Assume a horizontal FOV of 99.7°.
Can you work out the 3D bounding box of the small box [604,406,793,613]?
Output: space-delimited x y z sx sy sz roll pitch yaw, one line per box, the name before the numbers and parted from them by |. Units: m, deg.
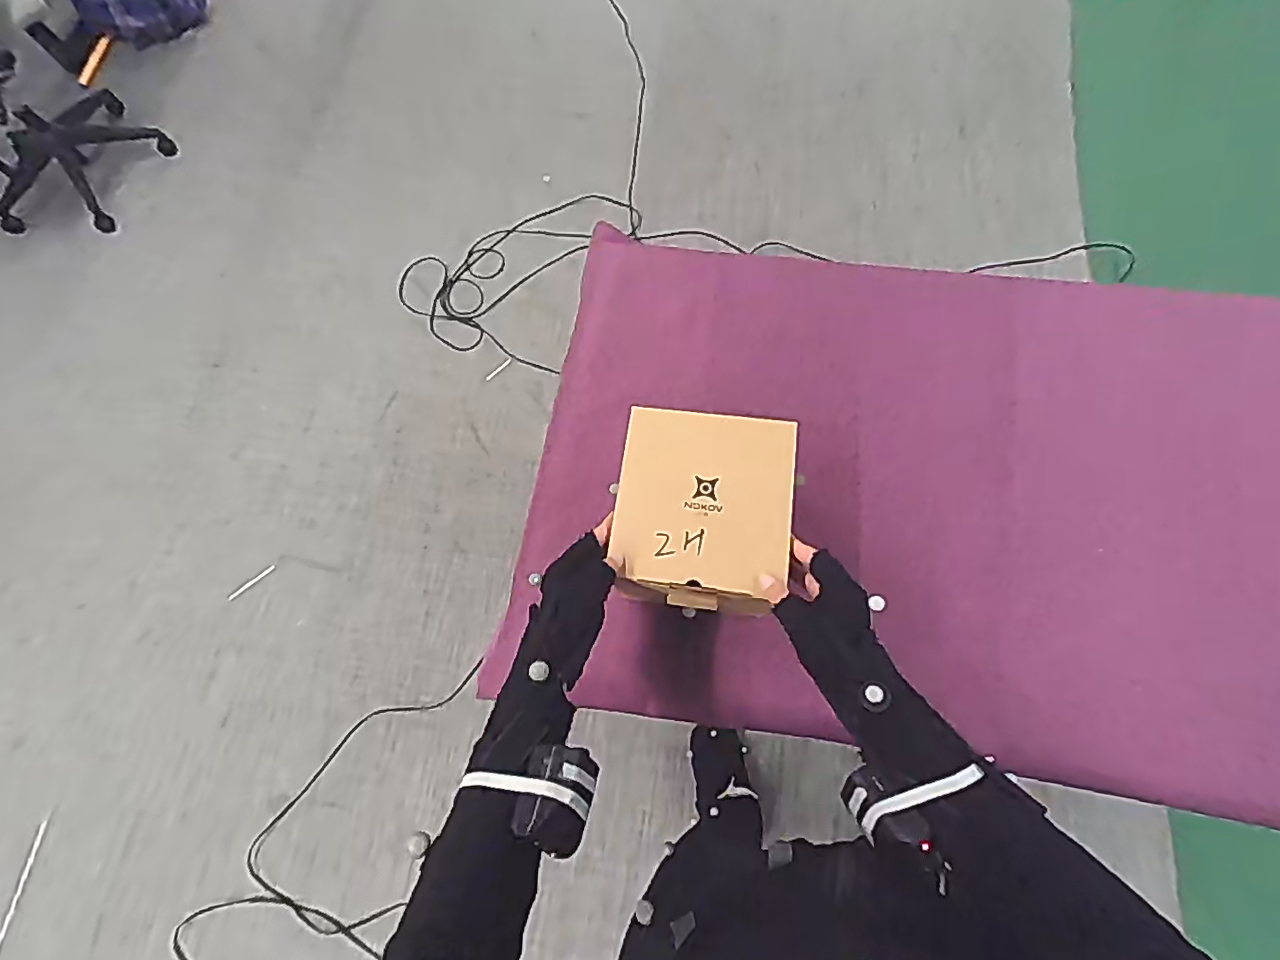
small box | 0.065 0.040 0.592 0.168 0.176 0.179 6 72 8
